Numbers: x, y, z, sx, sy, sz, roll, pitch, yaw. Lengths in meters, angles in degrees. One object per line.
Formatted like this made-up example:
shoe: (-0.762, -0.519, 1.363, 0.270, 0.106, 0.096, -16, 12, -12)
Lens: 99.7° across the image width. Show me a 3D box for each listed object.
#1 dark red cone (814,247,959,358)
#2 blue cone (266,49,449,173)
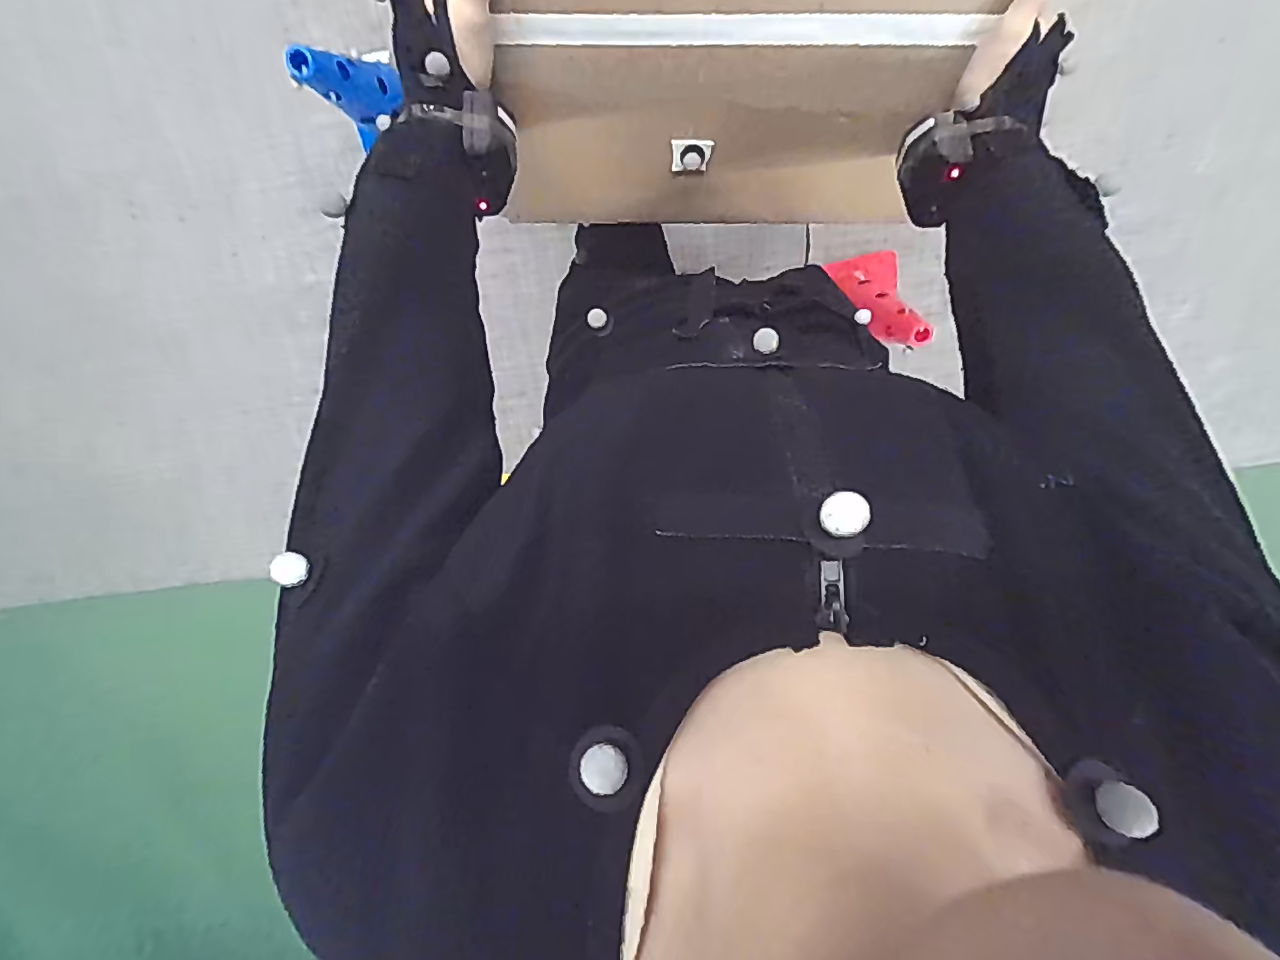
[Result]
dark red cone: (0.479, -0.302, 1.020, 0.202, 0.394, 0.201, -13, 116, 8)
blue cone: (-0.491, -0.663, 0.925, 0.192, 0.380, 0.193, -6, 114, 5)
